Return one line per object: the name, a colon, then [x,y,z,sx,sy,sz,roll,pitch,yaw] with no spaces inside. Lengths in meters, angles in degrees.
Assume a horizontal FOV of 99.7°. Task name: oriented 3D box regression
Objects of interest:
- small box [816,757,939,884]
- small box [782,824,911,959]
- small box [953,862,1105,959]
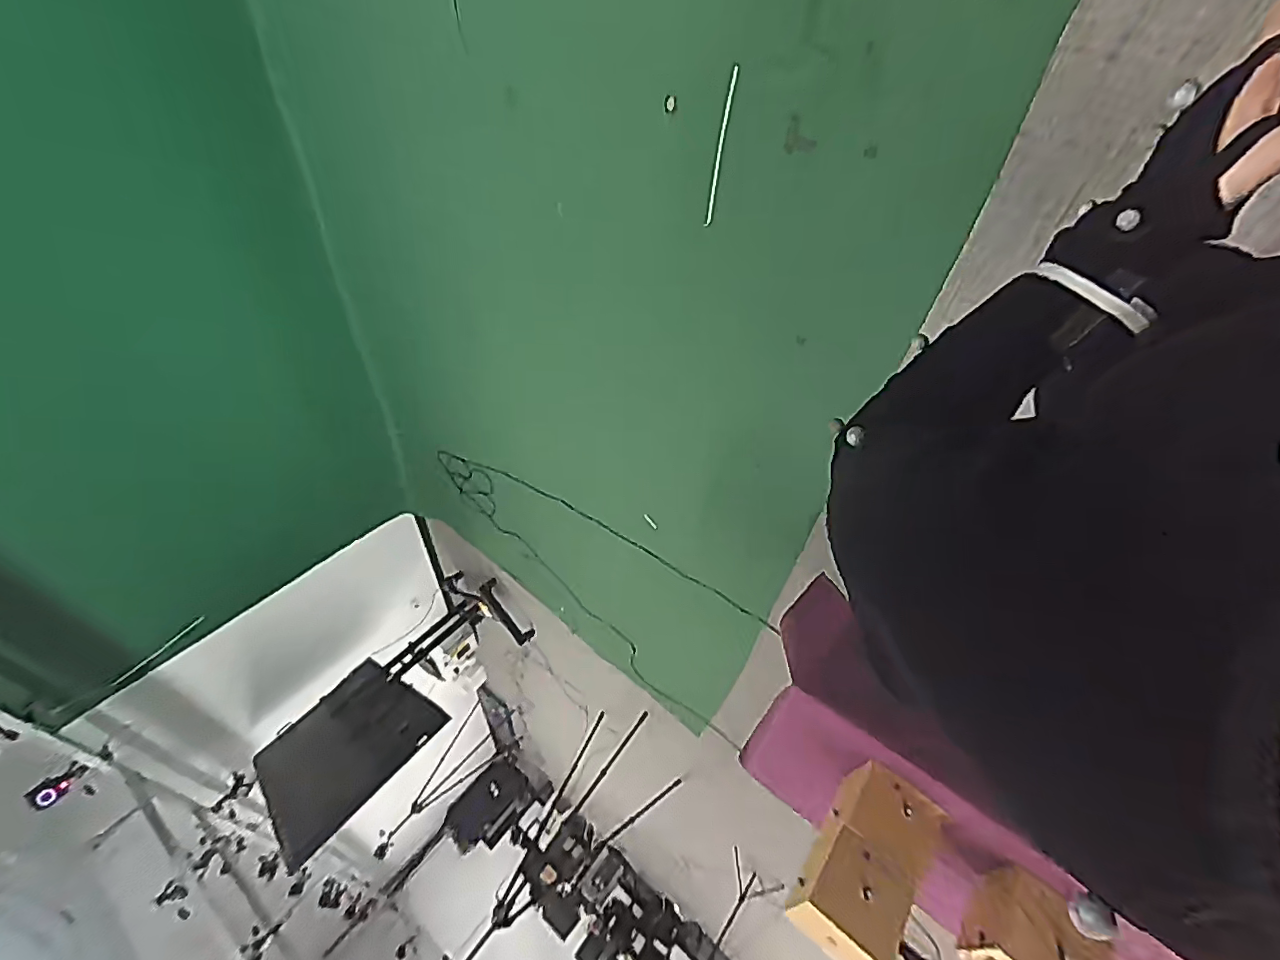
small box: [0.524,0.751,1.190,0.168,0.176,0.179,34,141,20]
small box: [0.420,0.838,1.095,0.168,0.176,0.179,34,142,22]
small box: [0.766,0.902,1.064,0.179,0.176,0.168,33,142,21]
